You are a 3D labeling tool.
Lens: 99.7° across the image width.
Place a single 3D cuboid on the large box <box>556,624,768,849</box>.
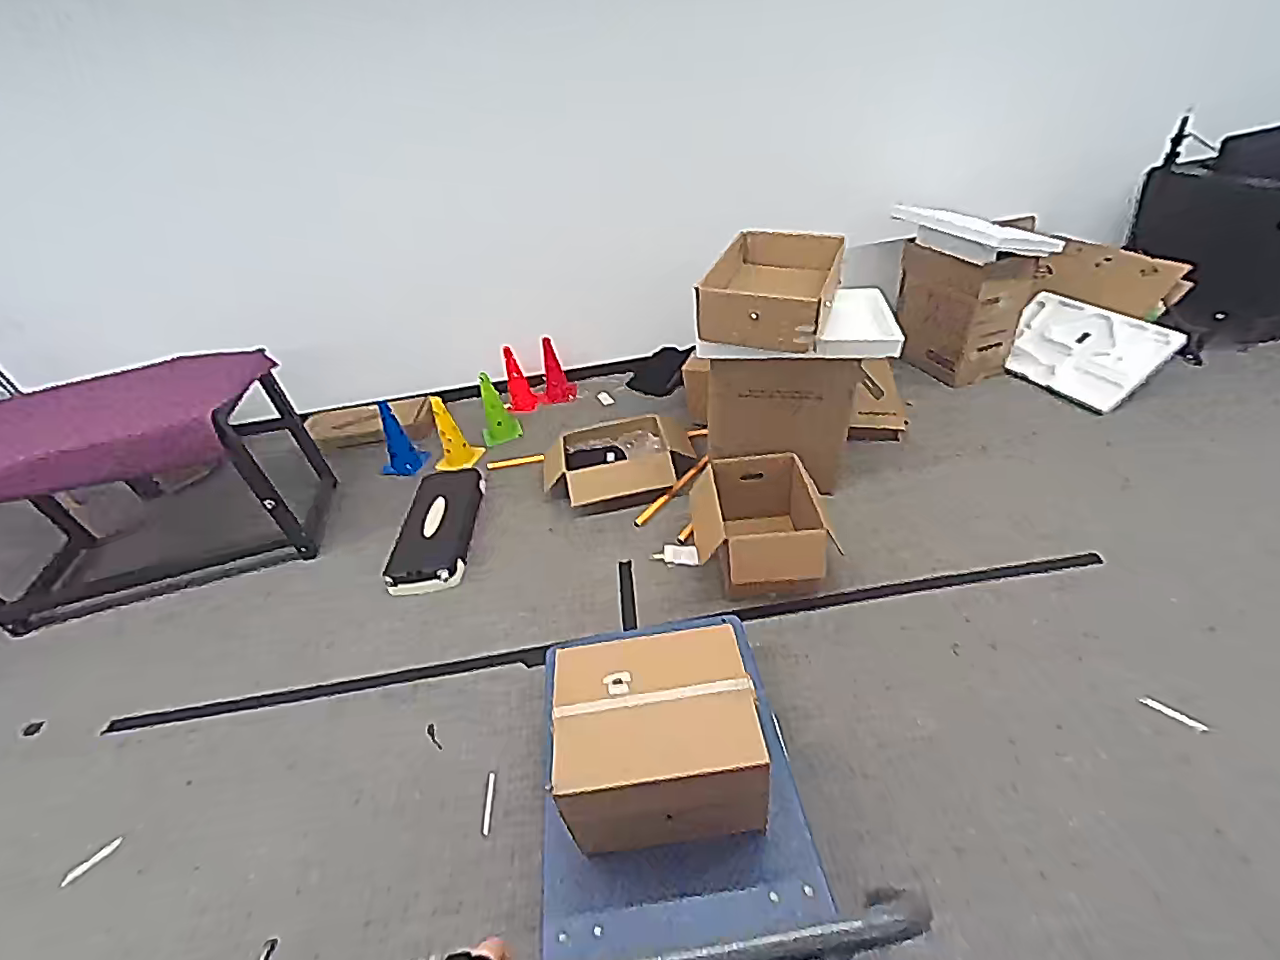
[{"bbox_3d":[0.046,0.570,1.205,0.408,0.320,0.320,-9,37,0],"label":"large box"}]
